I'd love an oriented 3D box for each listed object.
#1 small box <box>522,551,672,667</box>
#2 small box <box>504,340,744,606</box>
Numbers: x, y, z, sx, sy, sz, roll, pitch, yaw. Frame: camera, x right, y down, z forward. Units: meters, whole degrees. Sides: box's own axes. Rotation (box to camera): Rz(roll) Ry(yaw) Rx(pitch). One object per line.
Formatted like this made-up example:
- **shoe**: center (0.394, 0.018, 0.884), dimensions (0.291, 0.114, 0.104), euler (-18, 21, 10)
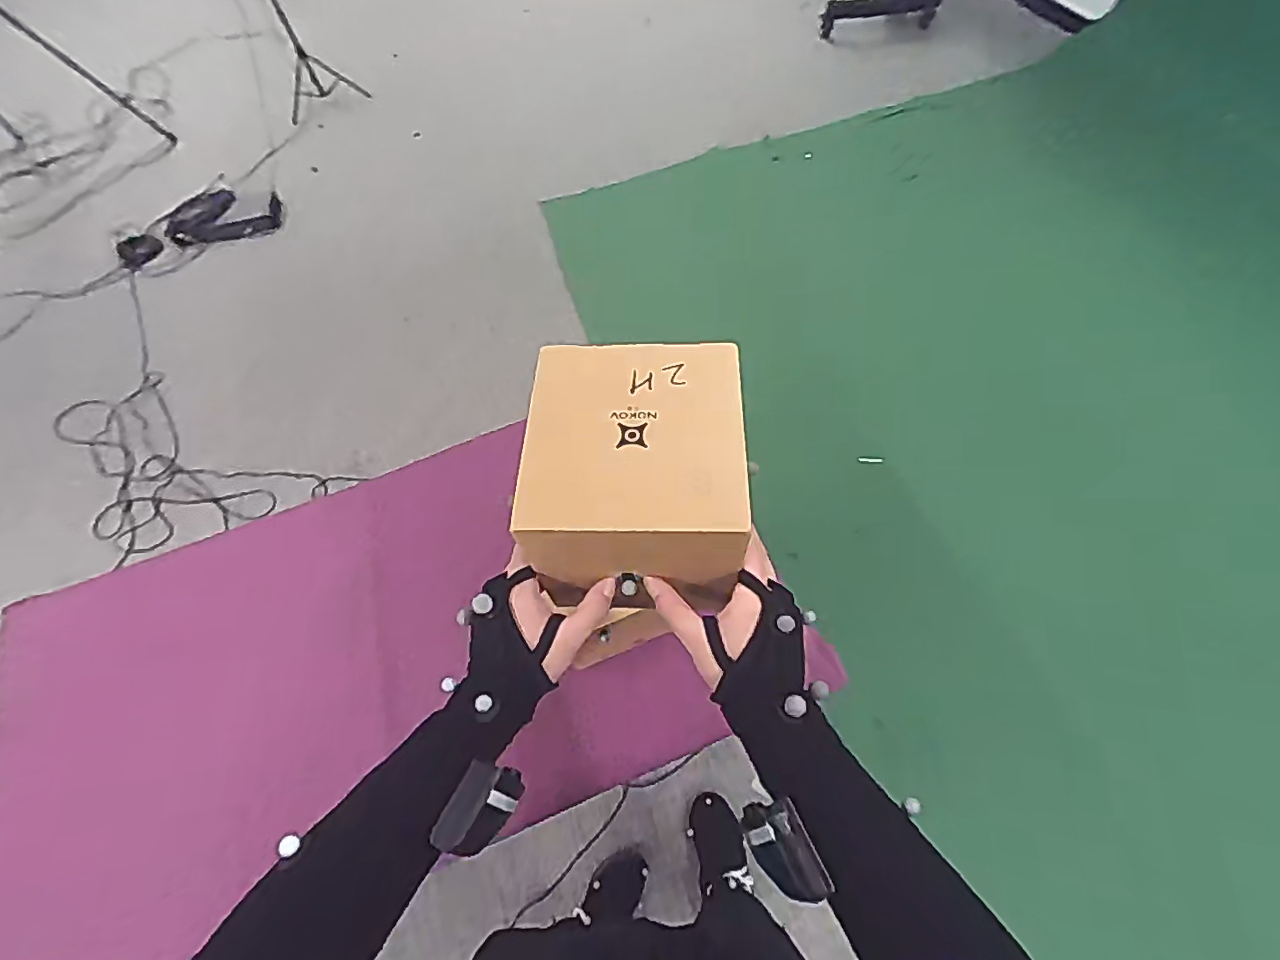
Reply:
- **small box**: center (-0.061, 0.149, 0.792), dimensions (0.168, 0.176, 0.179), euler (-22, 61, -6)
- **small box**: center (-0.002, 0.002, 0.468), dimensions (0.168, 0.176, 0.179), euler (1, 59, 4)
